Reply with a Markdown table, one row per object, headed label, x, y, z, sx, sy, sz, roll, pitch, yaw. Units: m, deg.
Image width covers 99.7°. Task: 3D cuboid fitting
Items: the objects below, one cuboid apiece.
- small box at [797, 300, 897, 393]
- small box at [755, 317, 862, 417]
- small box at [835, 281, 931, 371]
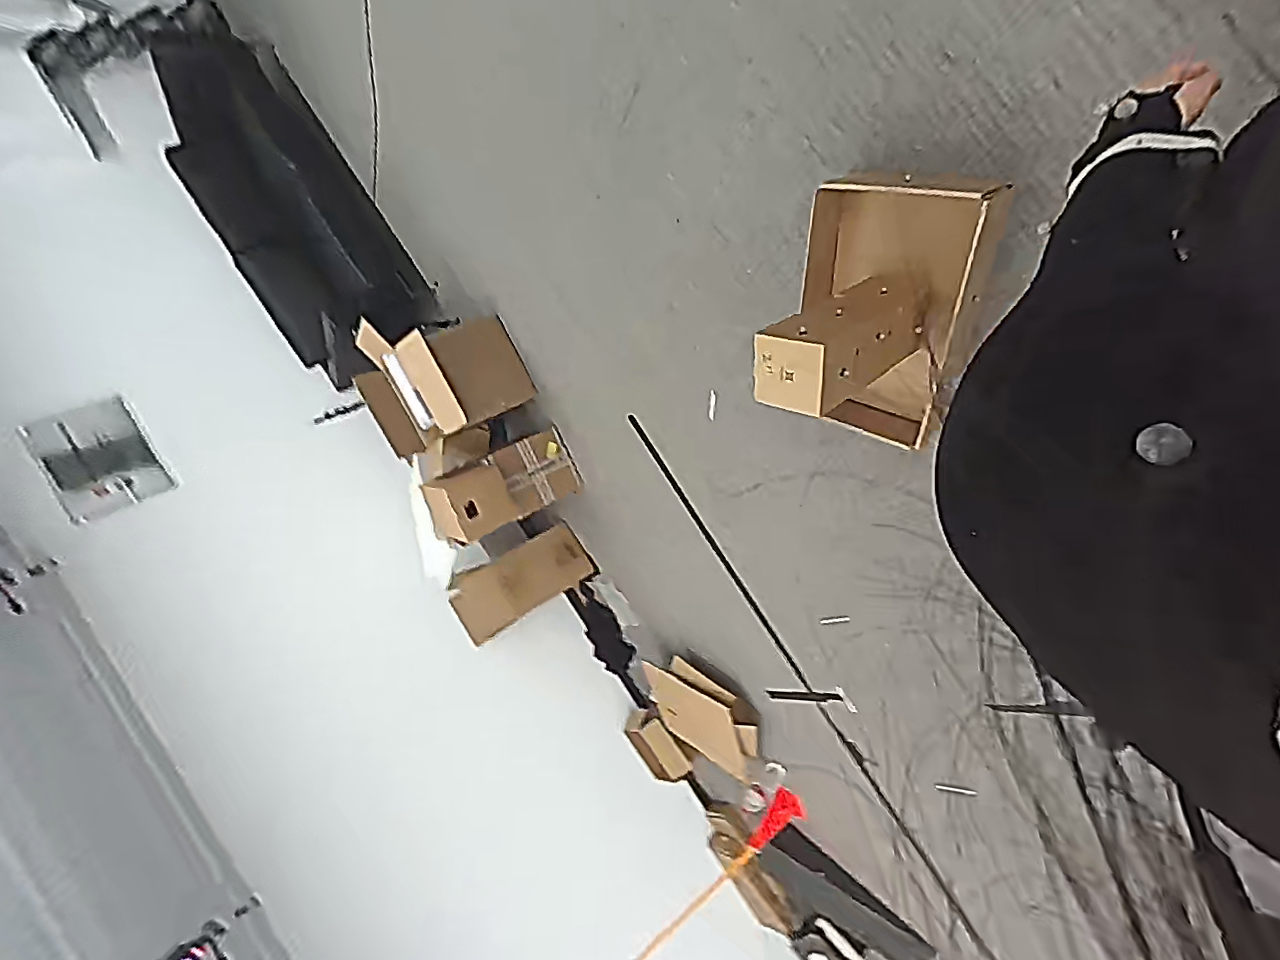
| label | x | y | z | sx | sy | sz | roll | pitch | yaw |
| --- | --- | --- | --- | --- | --- | --- | --- | --- | --- |
| small box | 0.503 | -0.334 | 1.328 | 0.179 | 0.176 | 0.168 | 27 | 135 | 41 |
| small box | 0.383 | -0.266 | 1.236 | 0.179 | 0.176 | 0.168 | 25 | 133 | 41 |
| small box | 0.621 | -0.408 | 1.410 | 0.179 | 0.176 | 0.168 | 29 | 137 | 37 |
